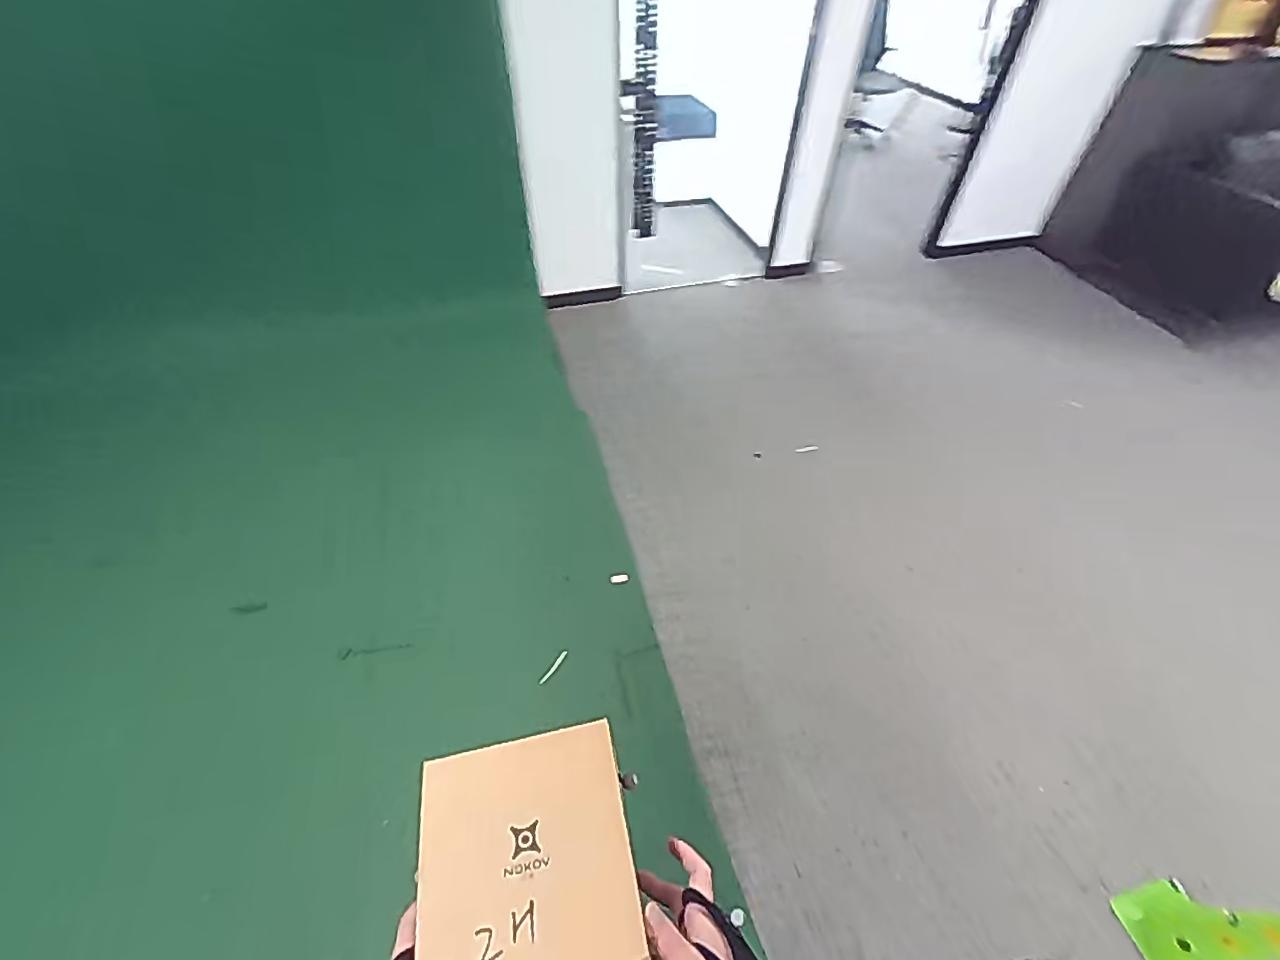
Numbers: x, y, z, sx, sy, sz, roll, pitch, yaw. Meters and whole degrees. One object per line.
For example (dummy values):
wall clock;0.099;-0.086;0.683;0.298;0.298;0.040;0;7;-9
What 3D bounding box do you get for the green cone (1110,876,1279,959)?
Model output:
green cone;1.250;0.960;1.136;0.200;0.368;0.202;-10;51;-9
